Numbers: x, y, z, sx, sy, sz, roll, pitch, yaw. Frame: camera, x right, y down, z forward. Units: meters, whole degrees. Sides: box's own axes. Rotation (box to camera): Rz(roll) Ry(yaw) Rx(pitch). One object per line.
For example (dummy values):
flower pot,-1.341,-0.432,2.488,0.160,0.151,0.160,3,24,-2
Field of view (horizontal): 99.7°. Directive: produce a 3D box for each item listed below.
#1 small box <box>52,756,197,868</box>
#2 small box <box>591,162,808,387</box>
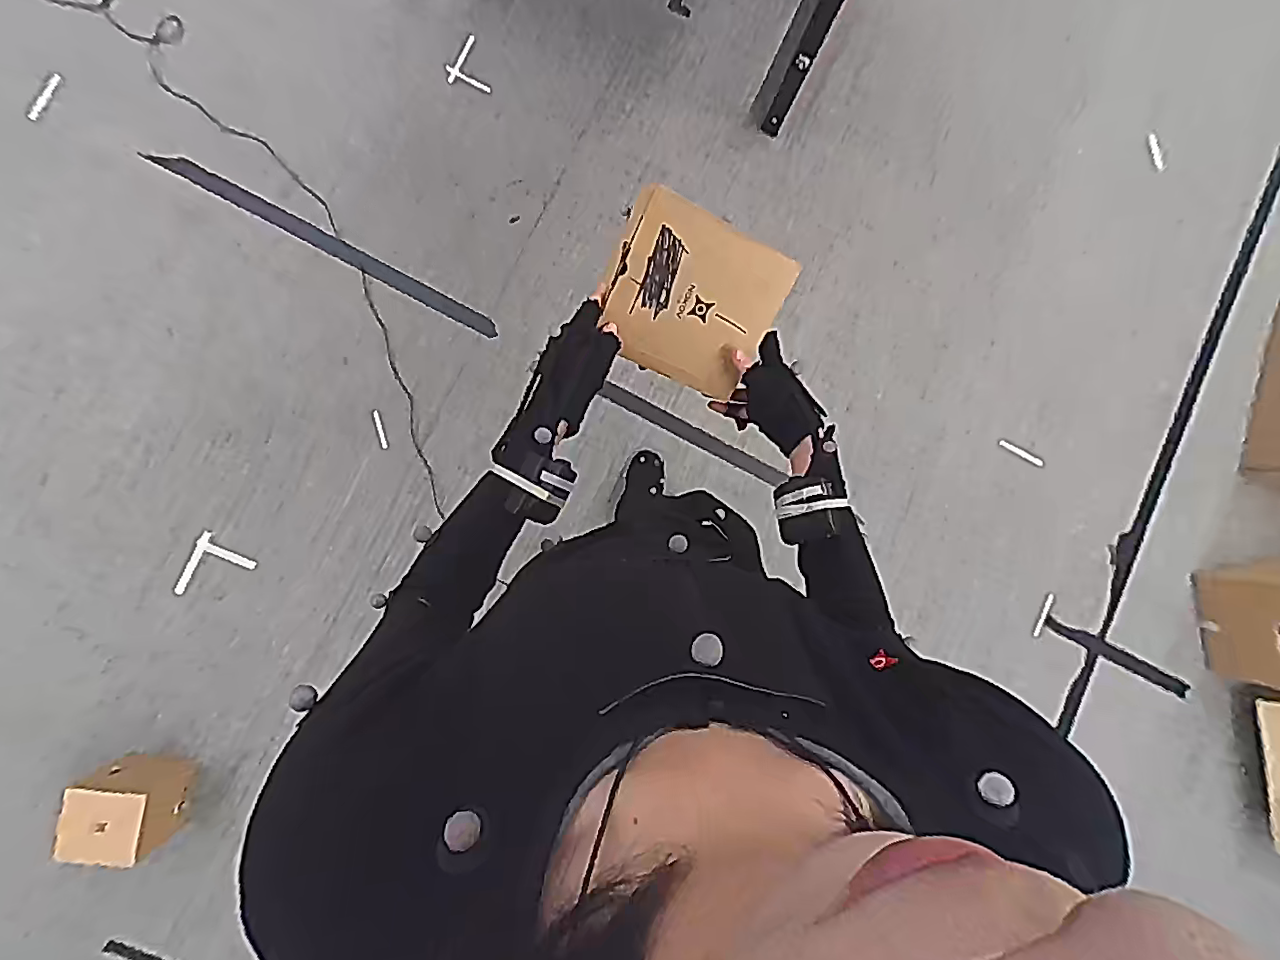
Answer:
small box,-1.224,0.786,1.296,0.179,0.176,0.168,8,87,-5
small box,0.052,-0.235,0.625,0.179,0.176,0.168,21,113,-16
